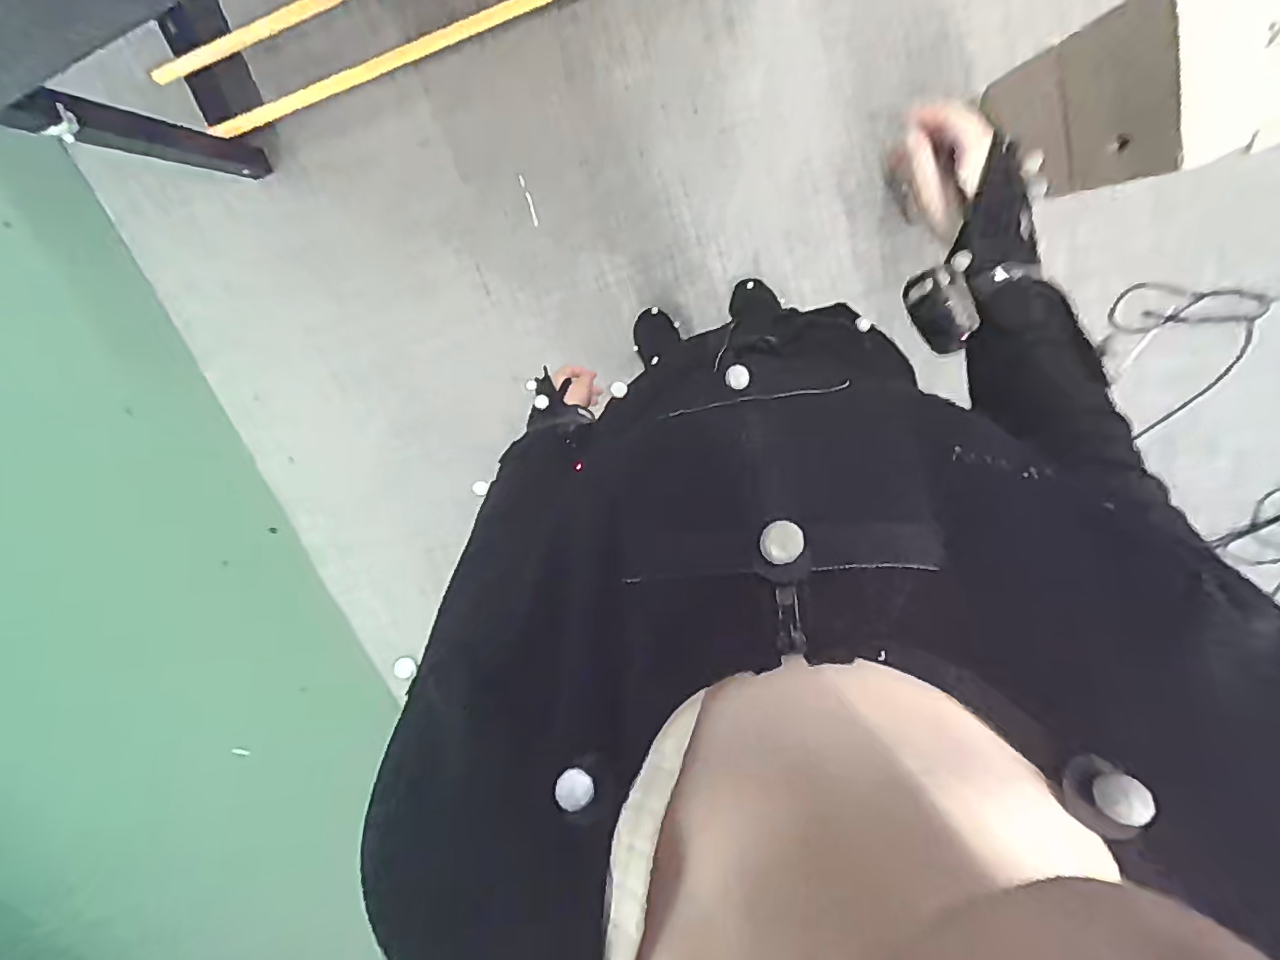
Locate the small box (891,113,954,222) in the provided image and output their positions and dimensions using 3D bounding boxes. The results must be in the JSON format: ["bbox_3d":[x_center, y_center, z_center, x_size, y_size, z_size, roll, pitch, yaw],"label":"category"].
[{"bbox_3d":[0.610,-0.612,1.030,0.179,0.176,0.168,-20,107,13],"label":"small box"}]

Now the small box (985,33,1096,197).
[{"bbox_3d":[0.596,-0.498,0.722,0.168,0.176,0.179,-19,109,12],"label":"small box"}]

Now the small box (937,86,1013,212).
[{"bbox_3d":[0.607,-0.555,0.875,0.179,0.176,0.168,-20,108,11],"label":"small box"}]

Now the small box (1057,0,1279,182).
[{"bbox_3d":[0.585,-0.438,0.571,0.168,0.176,0.179,-19,108,11],"label":"small box"}]
